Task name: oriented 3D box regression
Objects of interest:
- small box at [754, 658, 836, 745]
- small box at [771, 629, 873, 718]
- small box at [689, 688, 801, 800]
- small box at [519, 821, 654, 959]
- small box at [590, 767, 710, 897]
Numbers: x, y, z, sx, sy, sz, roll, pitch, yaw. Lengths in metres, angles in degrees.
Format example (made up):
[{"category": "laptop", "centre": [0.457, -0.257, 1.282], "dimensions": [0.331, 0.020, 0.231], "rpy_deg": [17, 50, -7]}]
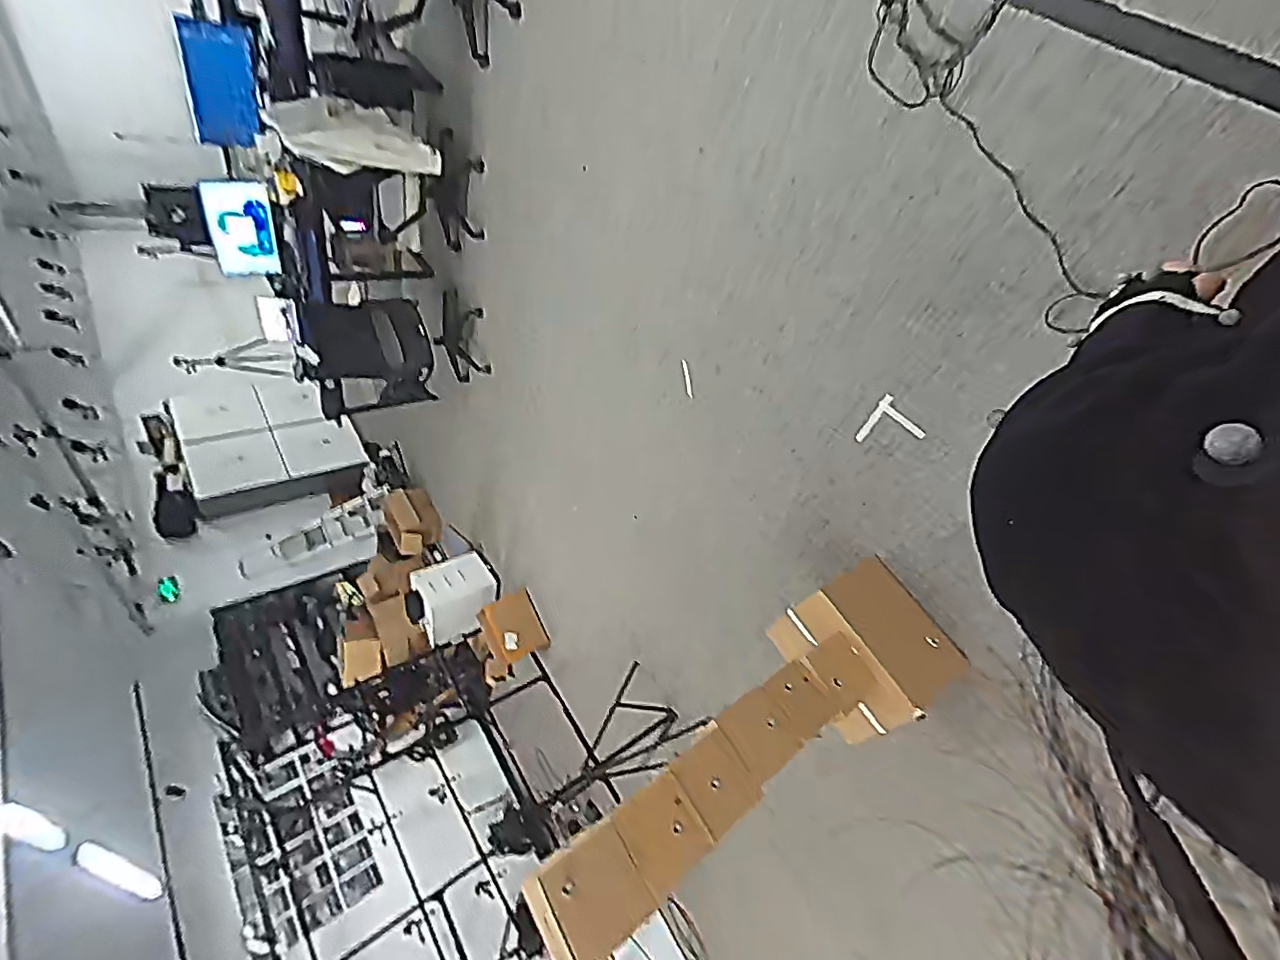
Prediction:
[{"category": "small box", "centre": [0.388, 0.608, 1.433], "dimensions": [0.168, 0.176, 0.179], "rpy_deg": [46, 138, 31]}, {"category": "small box", "centre": [0.514, 0.551, 1.518], "dimensions": [0.179, 0.176, 0.168], "rpy_deg": [57, 142, 20]}, {"category": "small box", "centre": [0.259, 0.644, 1.339], "dimensions": [0.179, 0.176, 0.168], "rpy_deg": [51, 140, 27]}, {"category": "small box", "centre": [-0.105, 0.788, 1.040], "dimensions": [0.179, 0.176, 0.168], "rpy_deg": [55, 141, 20]}, {"category": "small box", "centre": [0.019, 0.745, 1.140], "dimensions": [0.168, 0.176, 0.179], "rpy_deg": [52, 139, 24]}]
